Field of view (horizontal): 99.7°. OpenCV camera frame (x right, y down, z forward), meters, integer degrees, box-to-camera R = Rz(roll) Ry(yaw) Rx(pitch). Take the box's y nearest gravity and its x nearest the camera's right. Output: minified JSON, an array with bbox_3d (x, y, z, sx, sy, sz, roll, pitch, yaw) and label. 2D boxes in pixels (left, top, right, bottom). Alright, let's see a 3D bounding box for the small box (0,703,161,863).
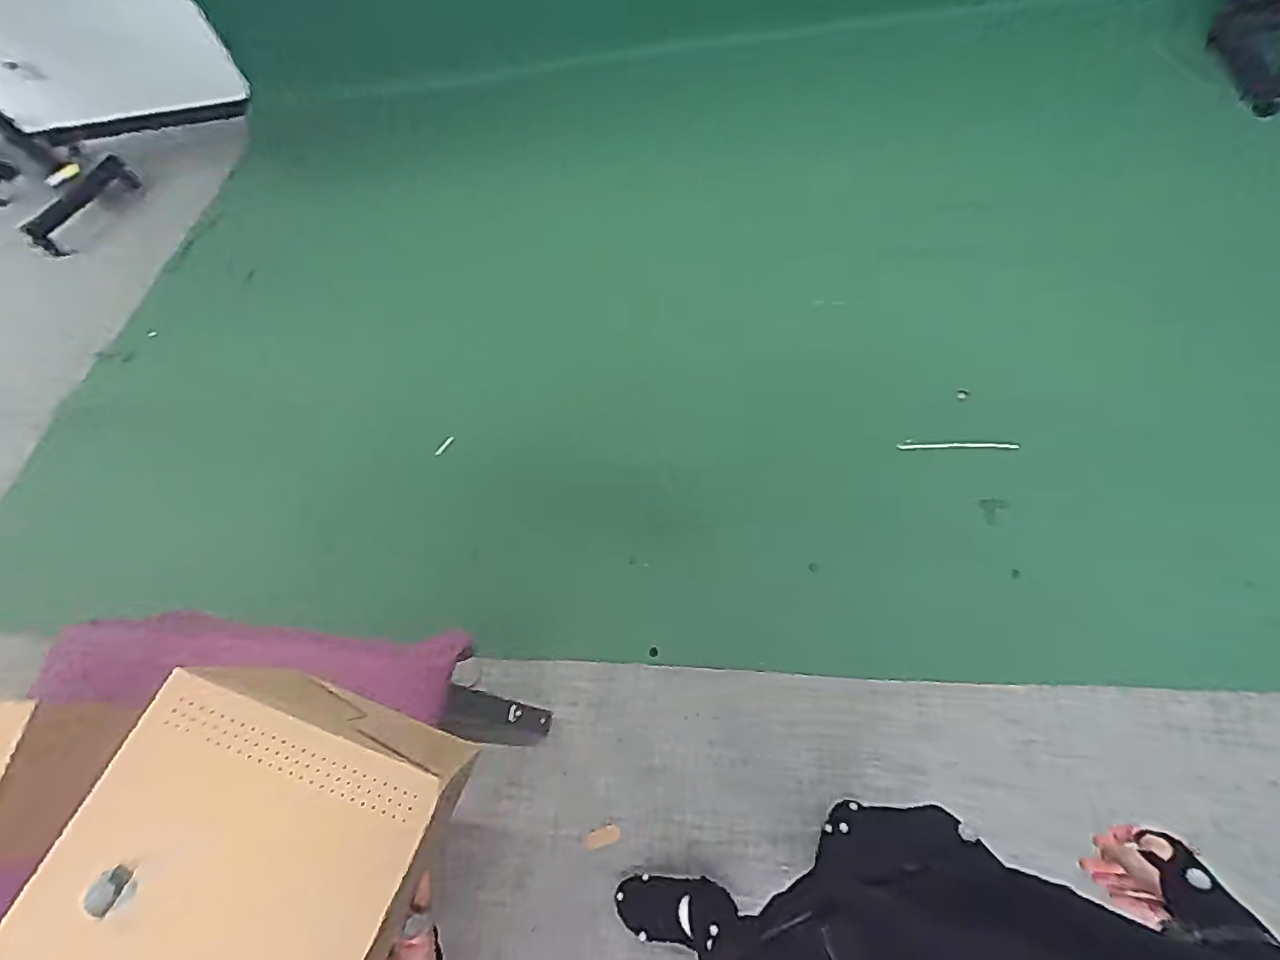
[{"bbox_3d":[-0.776,0.374,0.676,0.179,0.176,0.168,-3,63,6],"label":"small box"}]
